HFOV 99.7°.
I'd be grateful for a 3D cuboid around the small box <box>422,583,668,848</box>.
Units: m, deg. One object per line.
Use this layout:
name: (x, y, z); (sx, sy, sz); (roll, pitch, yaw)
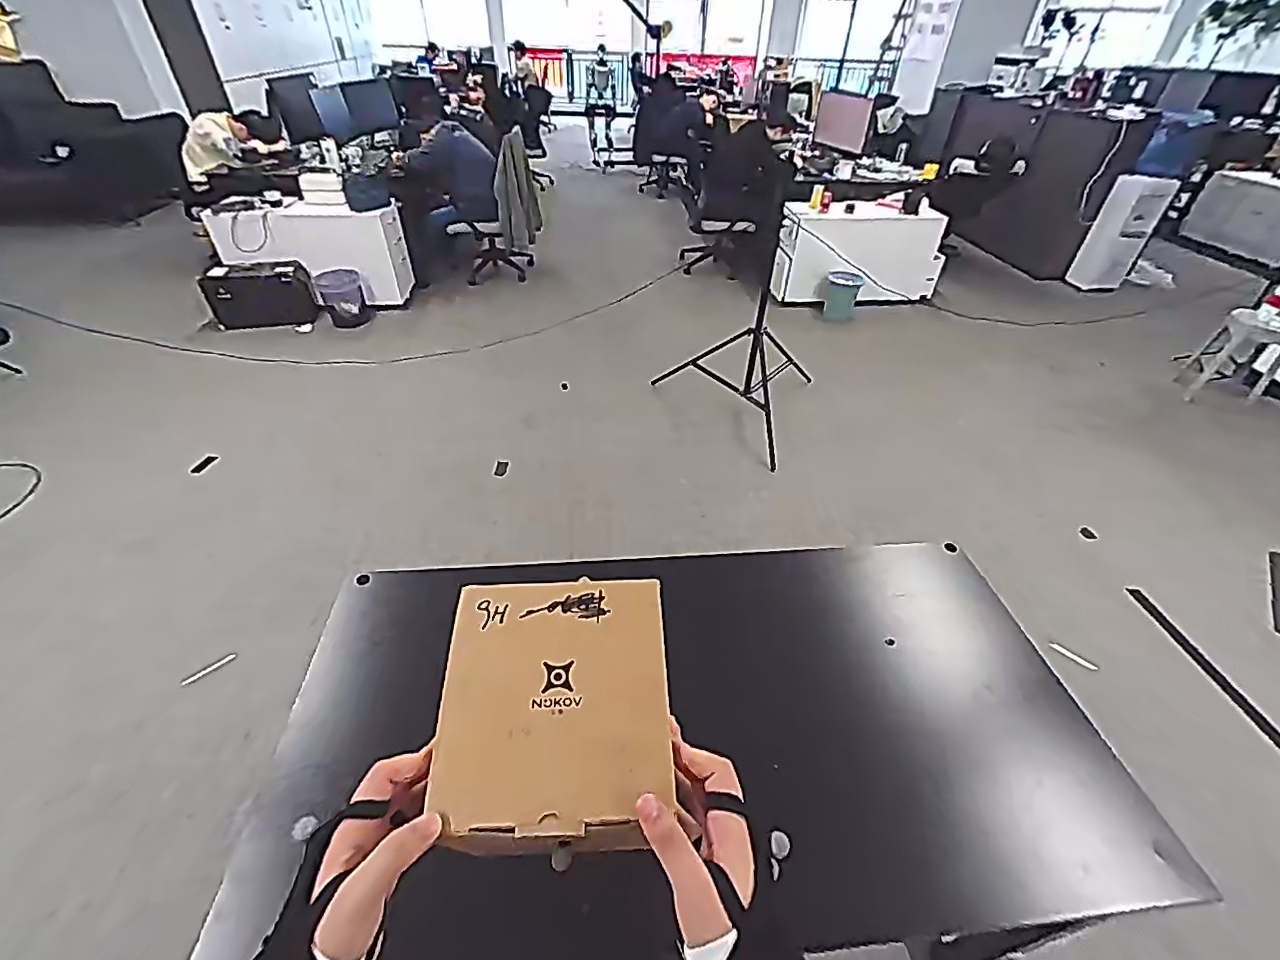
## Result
small box: (-0.064, 0.206, 0.463); (0.168, 0.176, 0.179); (-2, 53, -2)
